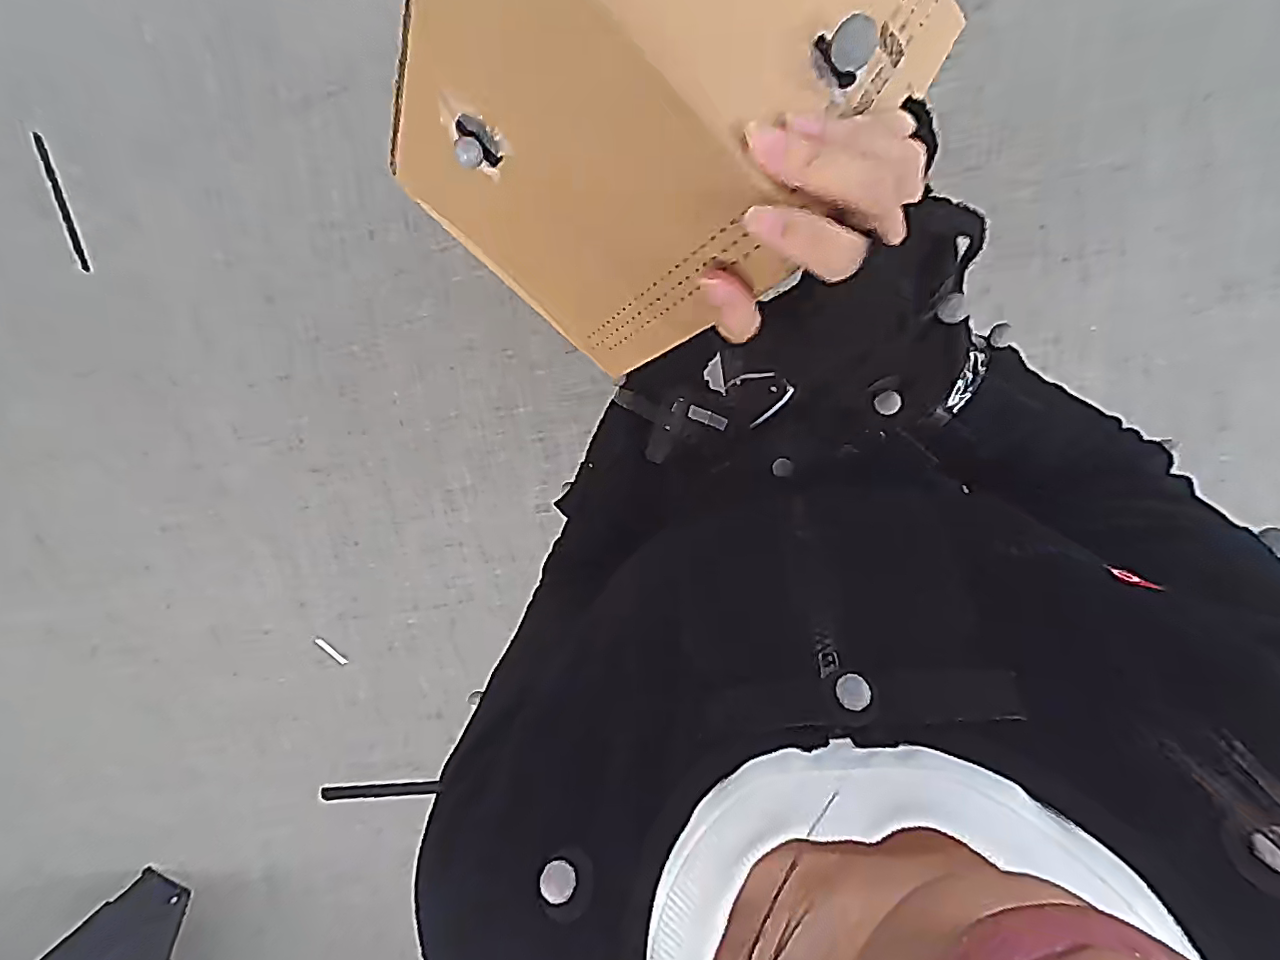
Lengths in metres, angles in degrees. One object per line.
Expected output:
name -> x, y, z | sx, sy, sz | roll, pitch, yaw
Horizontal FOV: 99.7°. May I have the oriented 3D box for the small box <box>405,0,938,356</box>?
small box -> 0.010, -0.192, 0.281 | 0.176, 0.179, 0.168 | 38, 68, -21
